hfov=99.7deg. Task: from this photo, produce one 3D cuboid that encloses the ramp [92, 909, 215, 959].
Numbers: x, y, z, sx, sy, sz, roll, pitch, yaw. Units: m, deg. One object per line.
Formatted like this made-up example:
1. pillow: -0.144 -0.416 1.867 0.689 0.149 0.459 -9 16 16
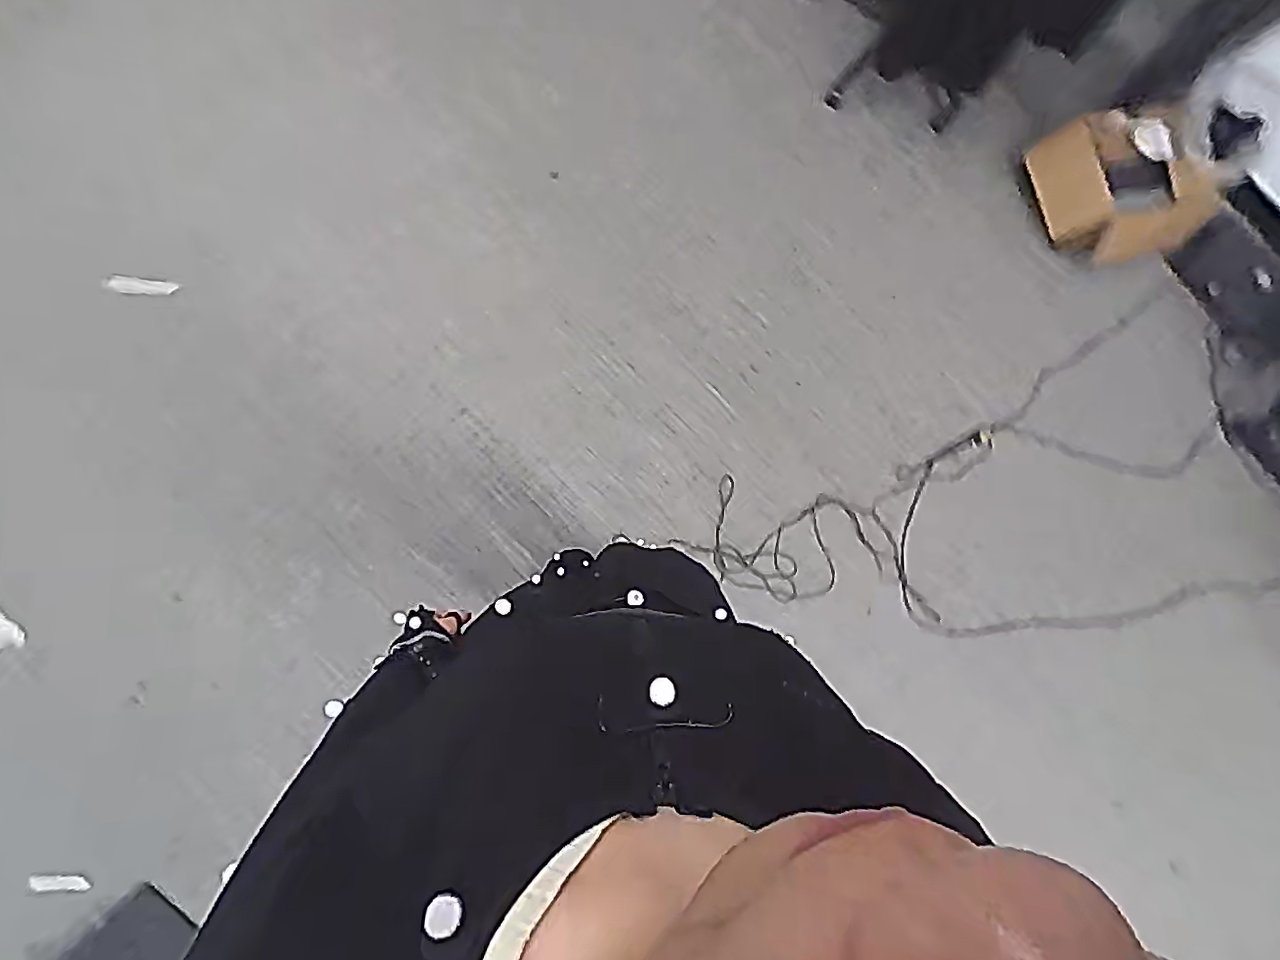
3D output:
1. ramp: -1.195 1.395 0.967 0.509 0.206 0.991 44 78 0
